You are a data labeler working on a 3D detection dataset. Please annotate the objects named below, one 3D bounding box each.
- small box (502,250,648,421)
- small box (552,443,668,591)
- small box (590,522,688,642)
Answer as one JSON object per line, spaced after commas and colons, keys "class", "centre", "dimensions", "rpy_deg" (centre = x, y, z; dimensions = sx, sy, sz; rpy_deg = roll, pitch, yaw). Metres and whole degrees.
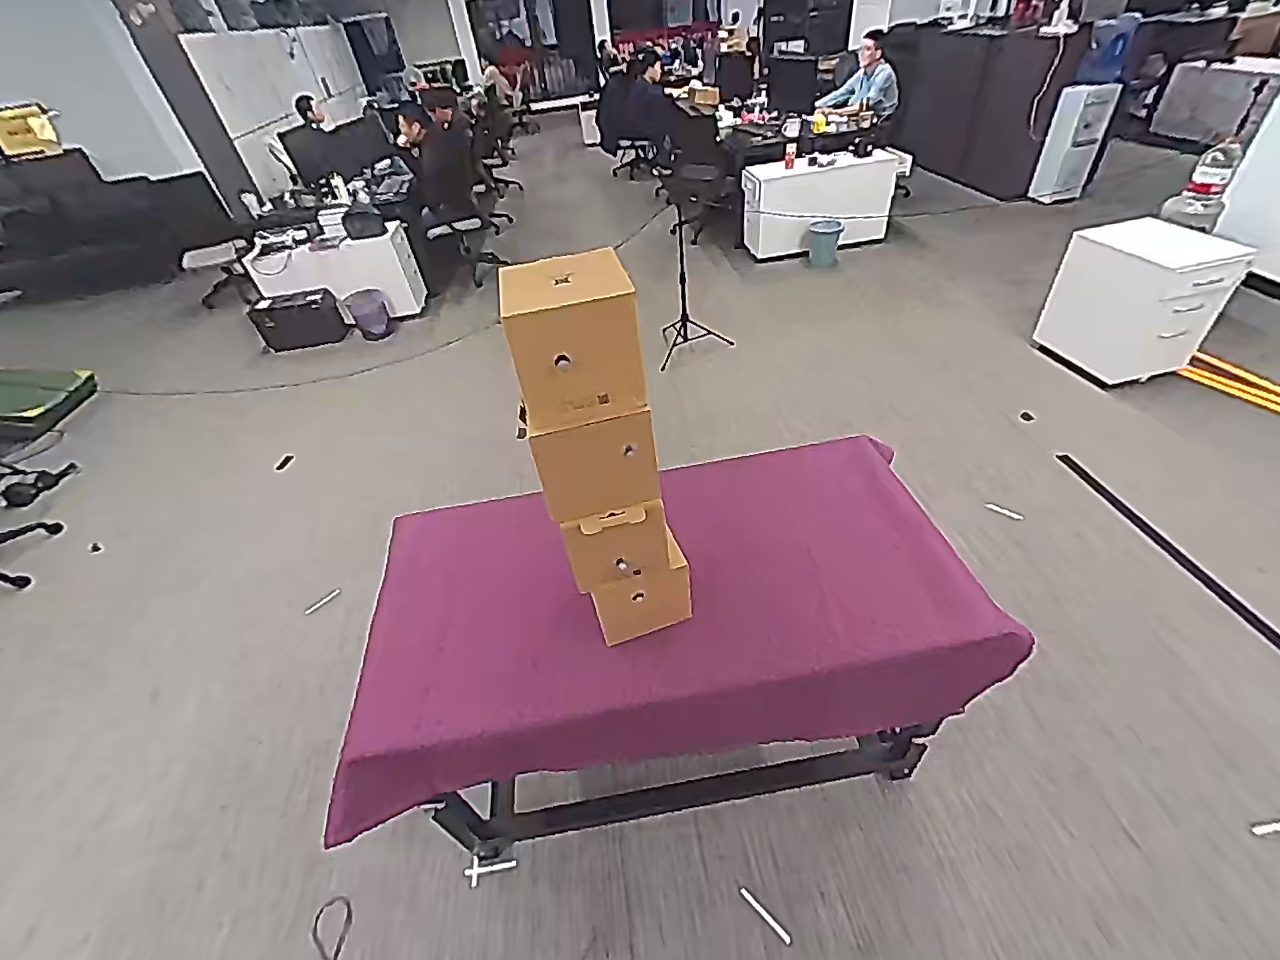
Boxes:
{"class": "small box", "centre": [-0.089, -0.197, 0.755], "dimensions": [0.168, 0.176, 0.179], "rpy_deg": [-12, 40, -5]}
{"class": "small box", "centre": [-0.052, 0.064, 0.951], "dimensions": [0.168, 0.176, 0.179], "rpy_deg": [-13, 42, -5]}
{"class": "small box", "centre": [-0.014, 0.187, 1.055], "dimensions": [0.179, 0.176, 0.168], "rpy_deg": [-16, 42, -10]}
